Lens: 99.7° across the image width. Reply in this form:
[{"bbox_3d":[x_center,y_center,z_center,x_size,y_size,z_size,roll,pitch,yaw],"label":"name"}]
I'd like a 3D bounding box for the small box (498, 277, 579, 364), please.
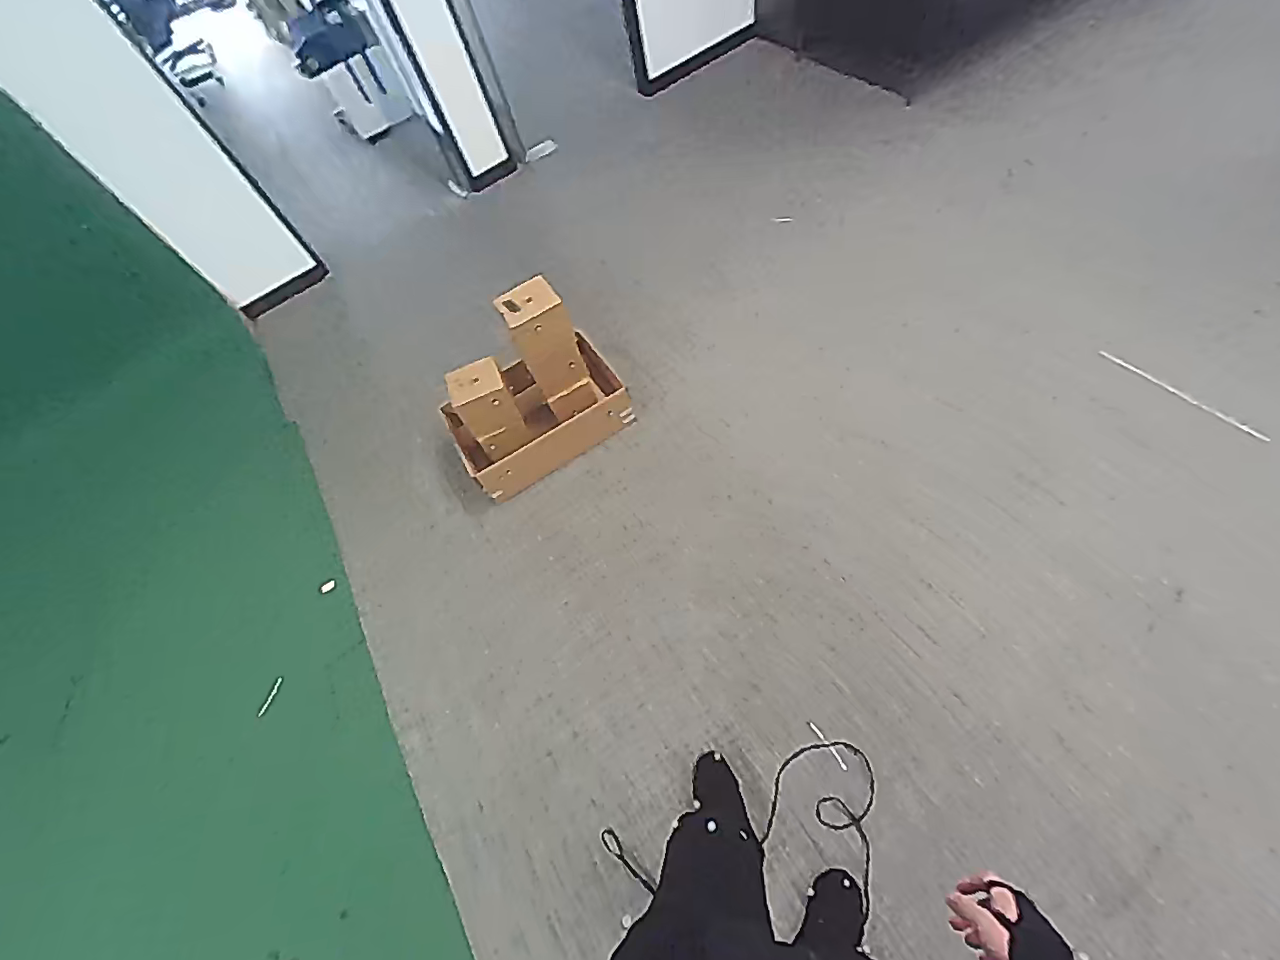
[{"bbox_3d":[-0.319,-0.505,1.727,0.179,0.176,0.168,-31,58,-6],"label":"small box"}]
